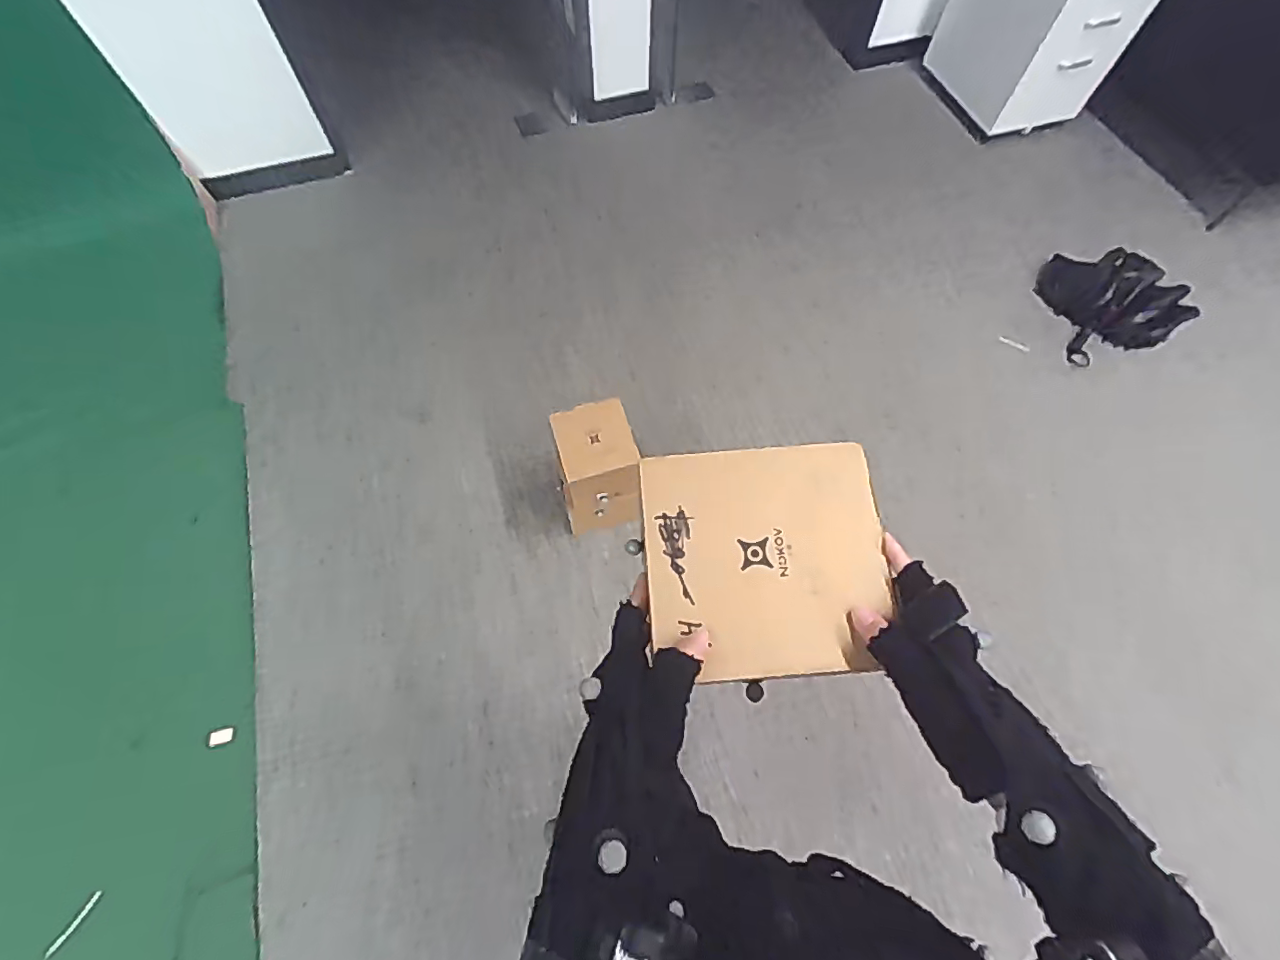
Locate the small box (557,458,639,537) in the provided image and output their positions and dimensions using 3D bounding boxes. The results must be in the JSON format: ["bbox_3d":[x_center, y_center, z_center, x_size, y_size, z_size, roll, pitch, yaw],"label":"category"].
[{"bbox_3d":[-0.105,0.033,1.399,0.179,0.176,0.168,-14,65,-8],"label":"small box"}]

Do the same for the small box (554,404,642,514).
[{"bbox_3d":[-0.092,-0.045,1.257,0.168,0.176,0.179,-16,67,-7],"label":"small box"}]

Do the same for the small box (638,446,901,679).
[{"bbox_3d":[0.089,0.081,0.472,0.179,0.176,0.168,-4,68,-1],"label":"small box"}]
